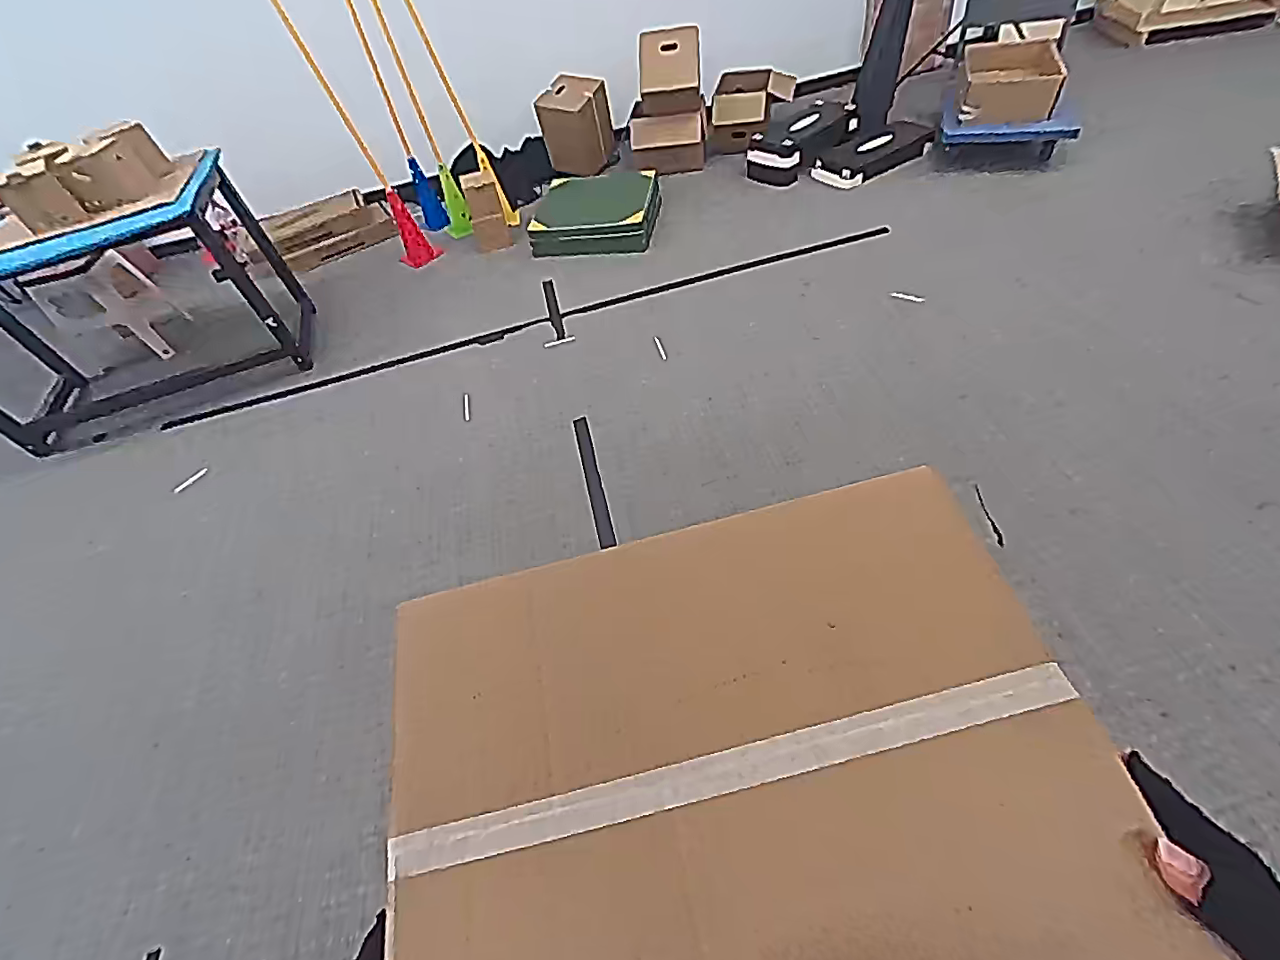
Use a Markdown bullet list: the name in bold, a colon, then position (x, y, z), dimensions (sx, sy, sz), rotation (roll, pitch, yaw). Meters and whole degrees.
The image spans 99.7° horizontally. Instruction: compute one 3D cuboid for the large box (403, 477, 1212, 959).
- **large box**: position (0.073, 0.249, 0.450), dimensions (0.408, 0.320, 0.320), rotation (-15, 57, 0)
